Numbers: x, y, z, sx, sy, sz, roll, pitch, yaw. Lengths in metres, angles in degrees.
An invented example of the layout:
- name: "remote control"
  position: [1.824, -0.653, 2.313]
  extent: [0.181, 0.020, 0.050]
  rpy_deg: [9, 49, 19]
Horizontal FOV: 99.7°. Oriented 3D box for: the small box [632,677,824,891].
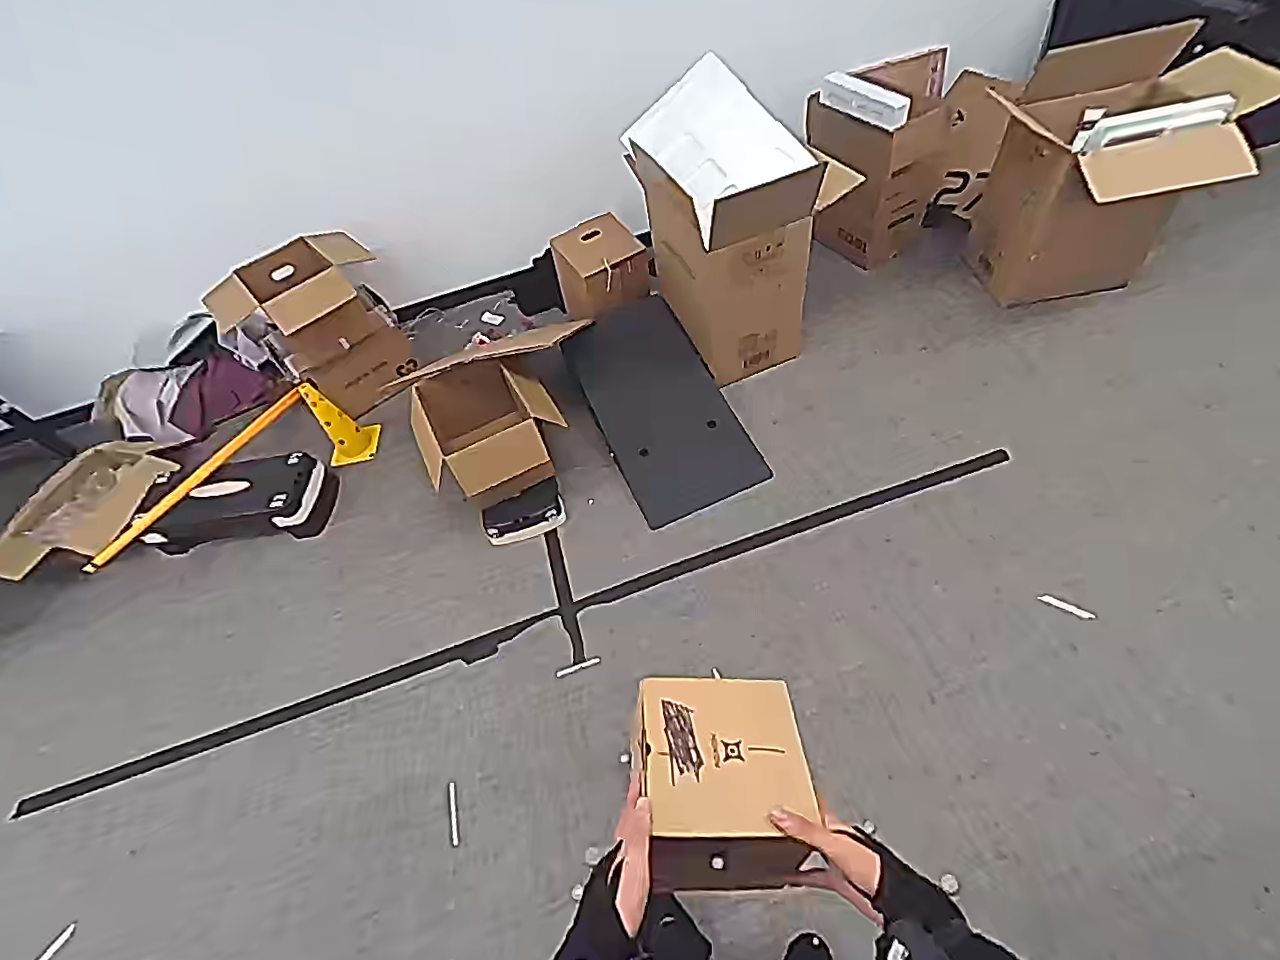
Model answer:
- name: "small box"
  position: [0.081, 0.346, 0.616]
  extent: [0.179, 0.176, 0.168]
  rpy_deg: [3, 39, -5]
